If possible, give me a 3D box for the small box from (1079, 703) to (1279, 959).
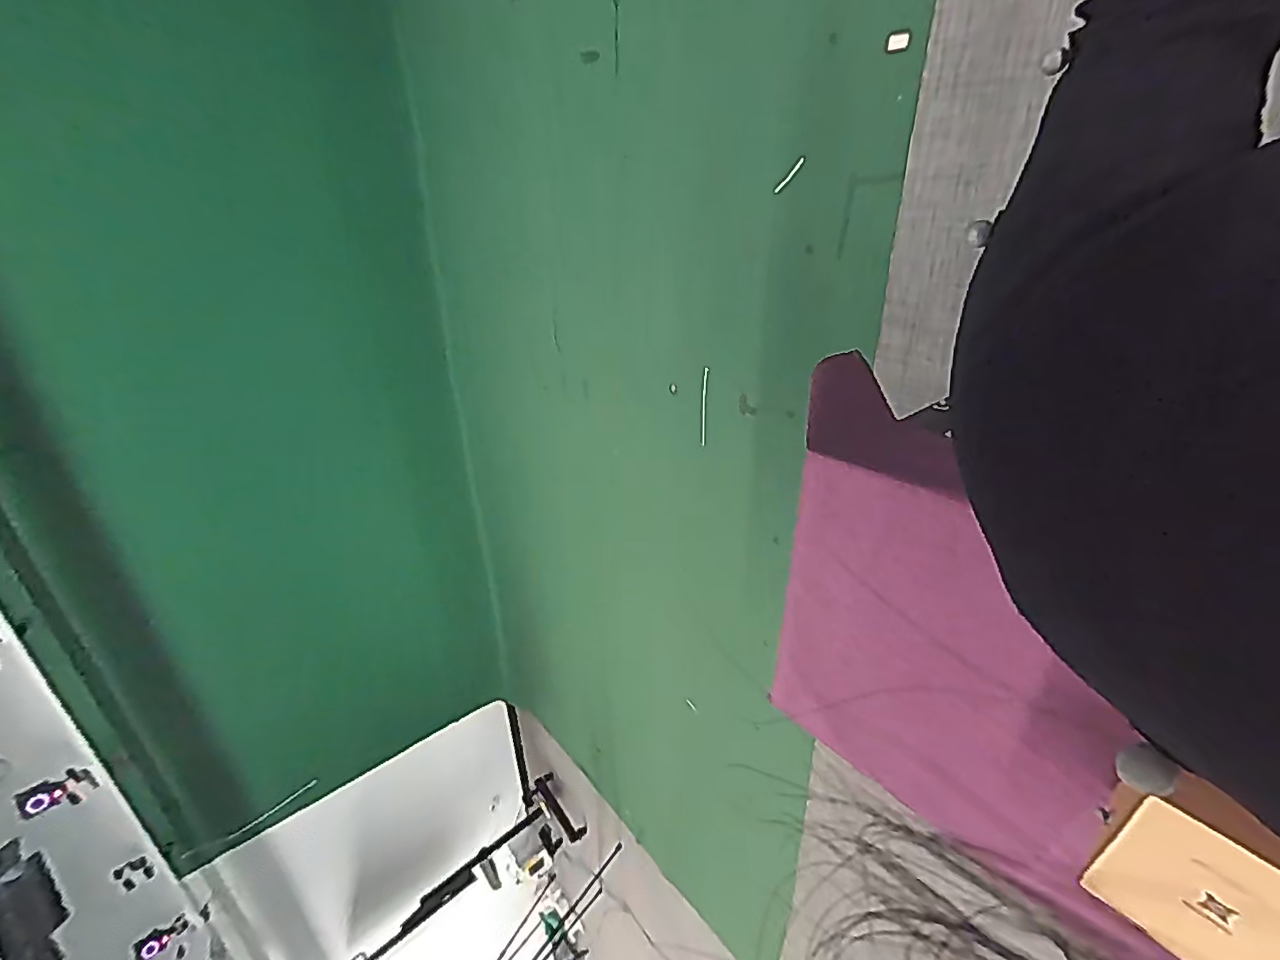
[{"bbox_3d":[0.617,0.382,0.571,0.168,0.176,0.179,30,129,40],"label":"small box"}]
